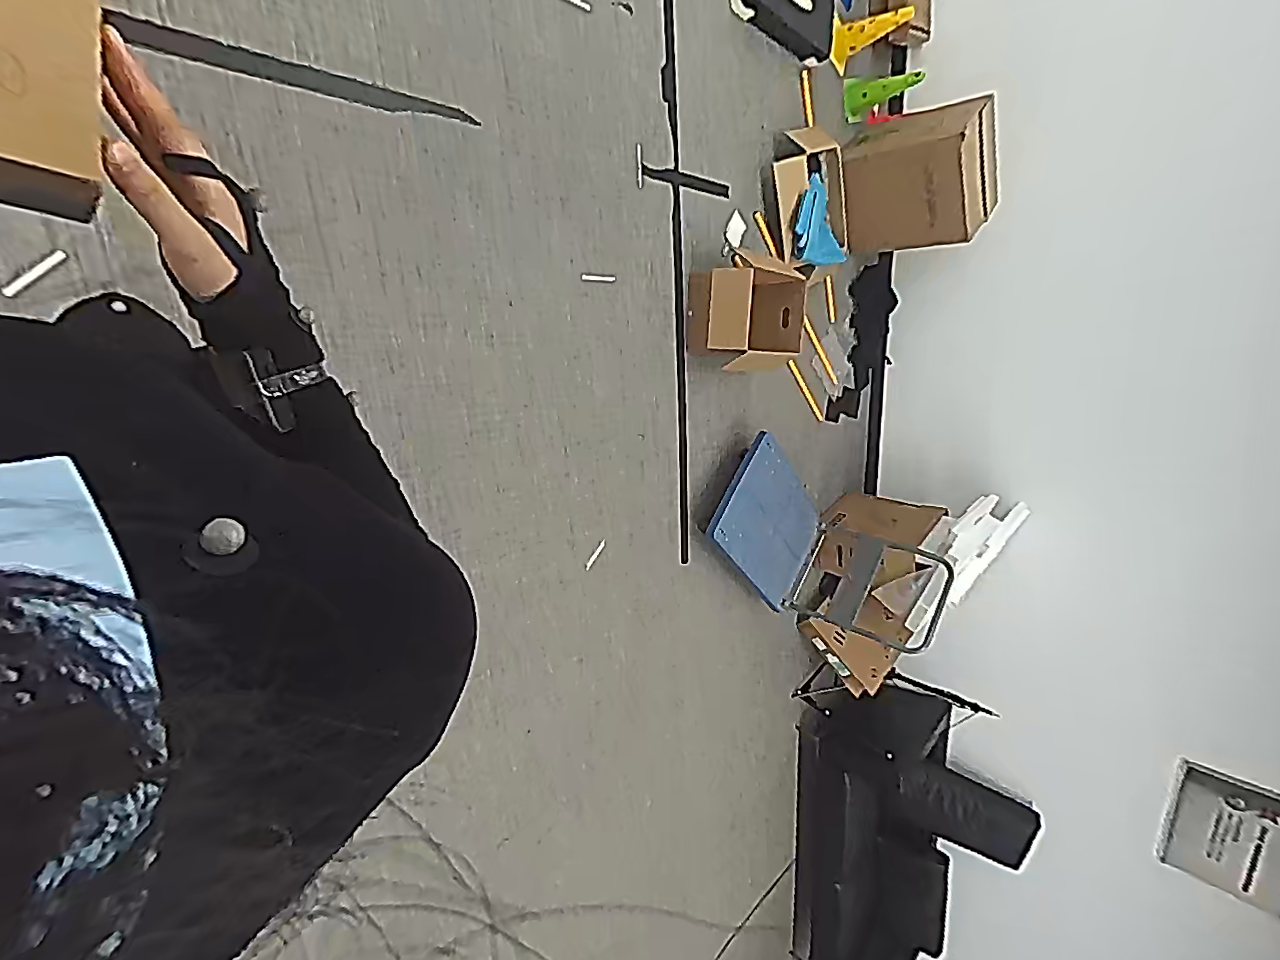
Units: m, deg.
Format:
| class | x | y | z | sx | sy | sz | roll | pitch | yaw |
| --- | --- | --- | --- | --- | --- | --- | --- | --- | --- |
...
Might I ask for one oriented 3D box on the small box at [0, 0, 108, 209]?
| class | x | y | z | sx | sy | sz | roll | pitch | yaw |
| --- | --- | --- | --- | --- | --- | --- | --- | --- | --- |
| small box | -0.375 | -0.254 | 0.260 | 0.168 | 0.176 | 0.179 | 0 | 100 | -48 |
